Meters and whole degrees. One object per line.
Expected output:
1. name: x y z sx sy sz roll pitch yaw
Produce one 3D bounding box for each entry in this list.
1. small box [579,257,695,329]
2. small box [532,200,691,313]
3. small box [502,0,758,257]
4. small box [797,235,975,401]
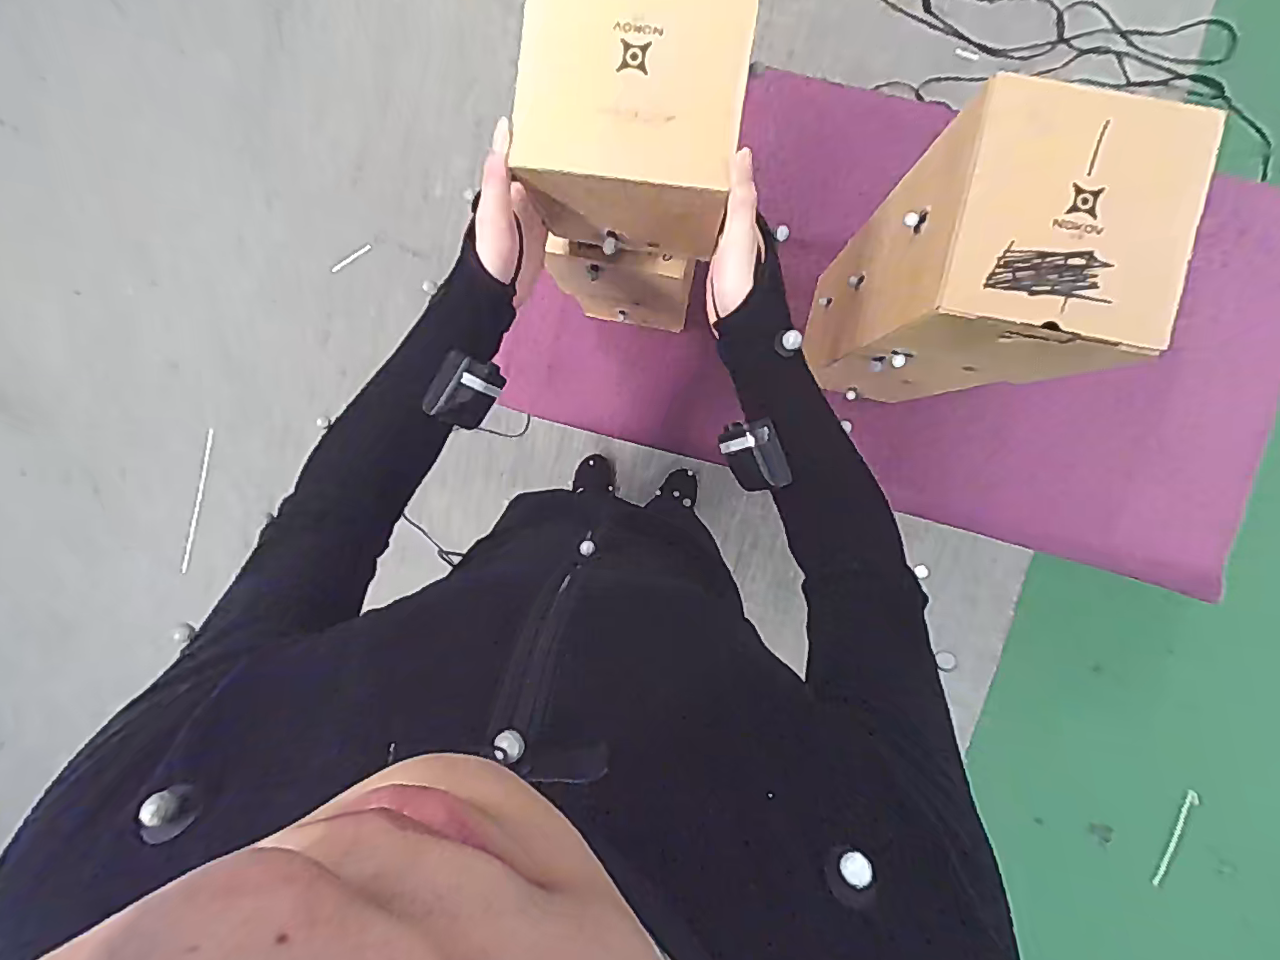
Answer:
1. small box: -0.003 -0.340 0.802 0.168 0.176 0.179 10 94 2
2. small box: -0.014 -0.317 0.639 0.168 0.176 0.179 12 93 2
3. small box: -0.002 -0.310 0.454 0.168 0.176 0.179 9 97 3
4. small box: 0.342 -0.223 0.788 0.168 0.176 0.179 13 94 3
